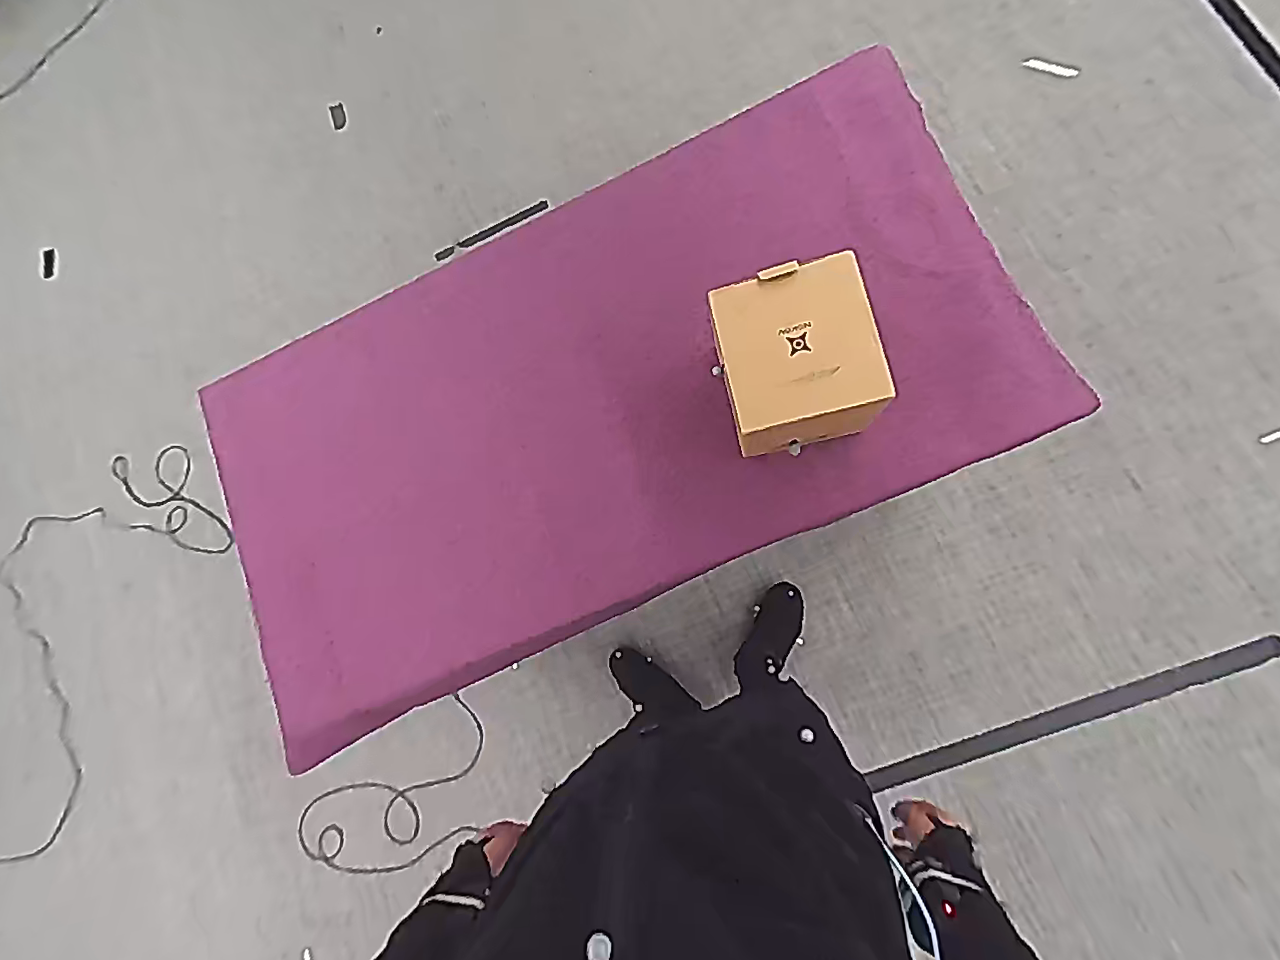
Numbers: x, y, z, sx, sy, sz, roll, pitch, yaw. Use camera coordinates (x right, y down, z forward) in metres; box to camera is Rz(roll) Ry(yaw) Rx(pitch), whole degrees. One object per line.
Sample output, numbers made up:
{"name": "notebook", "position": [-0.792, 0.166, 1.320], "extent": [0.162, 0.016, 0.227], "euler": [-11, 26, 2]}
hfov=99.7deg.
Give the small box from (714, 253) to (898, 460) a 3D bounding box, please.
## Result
{"name": "small box", "position": [0.190, -0.137, 0.663], "extent": [0.168, 0.176, 0.179], "euler": [-13, 80, 10]}
